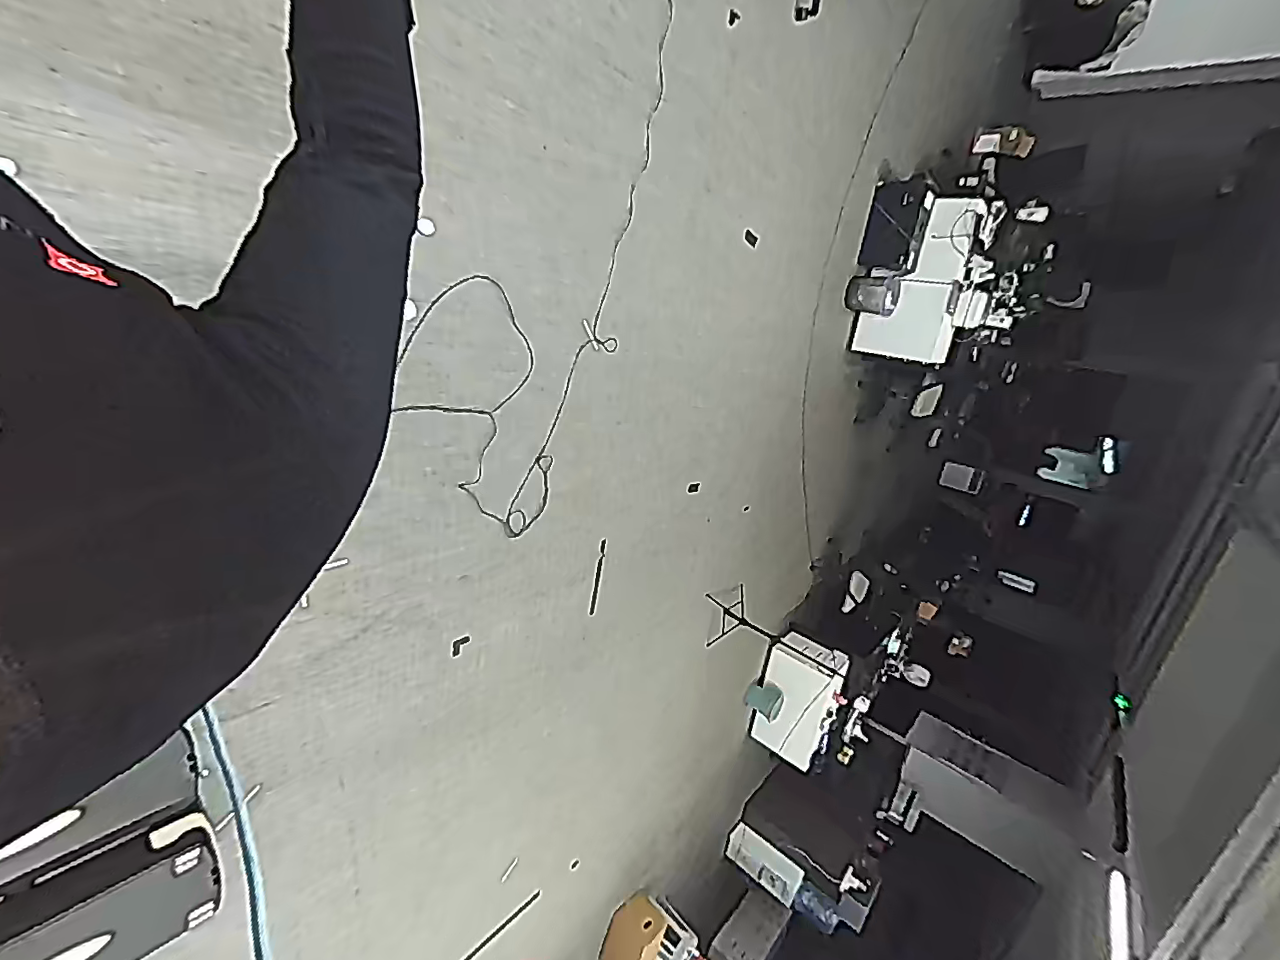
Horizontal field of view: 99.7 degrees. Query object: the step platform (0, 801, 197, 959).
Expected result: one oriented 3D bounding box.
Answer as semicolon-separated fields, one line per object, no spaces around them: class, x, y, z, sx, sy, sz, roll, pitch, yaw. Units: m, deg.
step platform;-1.400;1.041;1.170;0.684;0.204;0.286;-15;119;-47
